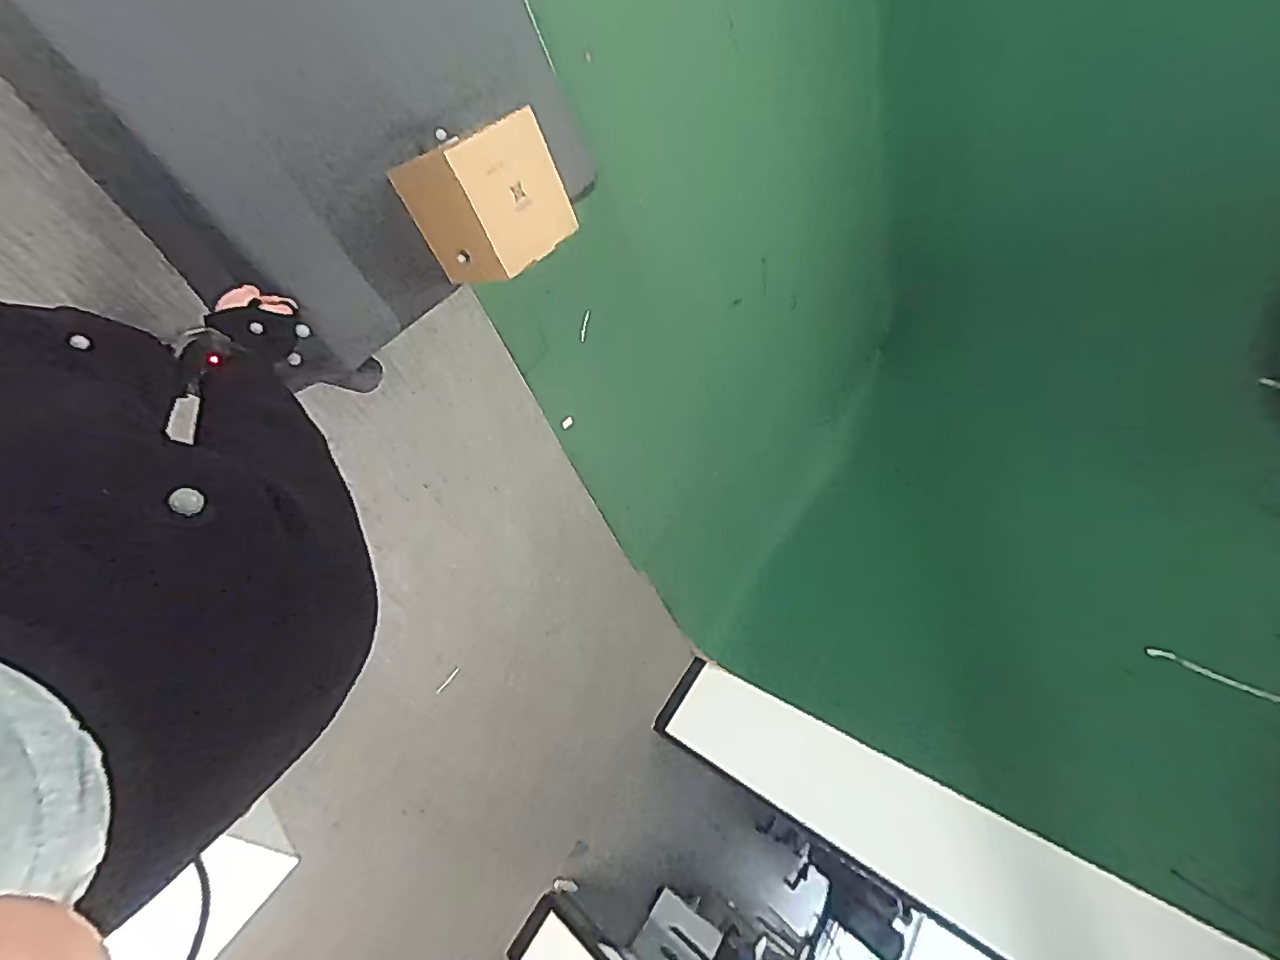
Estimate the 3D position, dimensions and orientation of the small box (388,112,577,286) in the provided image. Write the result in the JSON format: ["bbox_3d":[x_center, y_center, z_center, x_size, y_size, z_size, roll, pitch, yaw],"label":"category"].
[{"bbox_3d":[-0.233,-0.411,0.813,0.168,0.176,0.179,-50,134,-27],"label":"small box"}]
